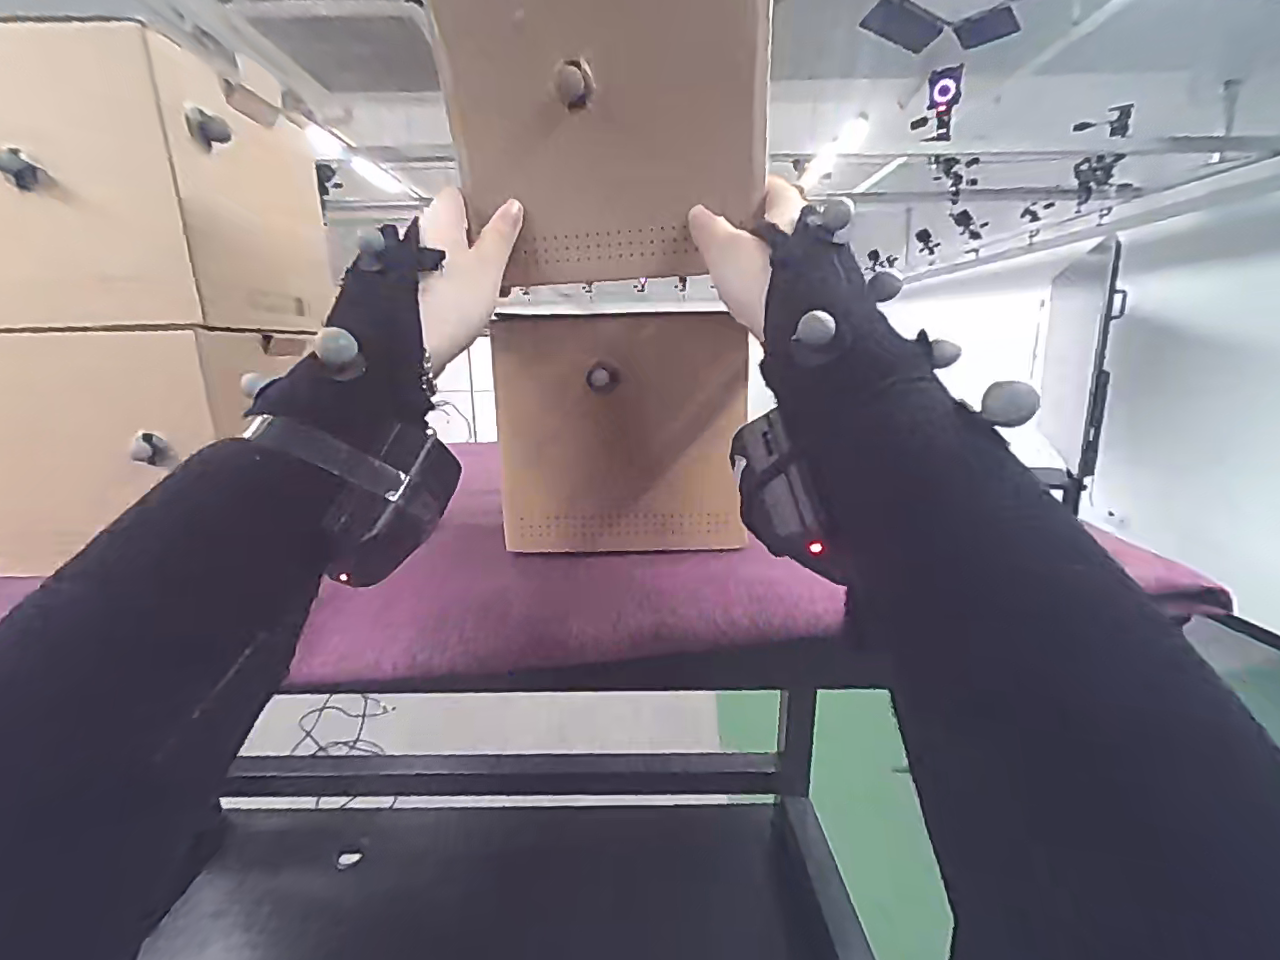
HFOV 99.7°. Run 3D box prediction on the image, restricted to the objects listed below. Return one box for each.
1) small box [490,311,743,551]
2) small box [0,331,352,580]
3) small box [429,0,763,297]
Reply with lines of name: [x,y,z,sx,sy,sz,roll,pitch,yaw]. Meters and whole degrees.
small box: [-0.012,-0.042,0.453,0.179,0.176,0.168,-1,12,1]
small box: [-0.360,-0.029,0.433,0.179,0.176,0.168,-2,13,-1]
small box: [-0.013,-0.223,0.365,0.179,0.176,0.168,-2,26,7]
